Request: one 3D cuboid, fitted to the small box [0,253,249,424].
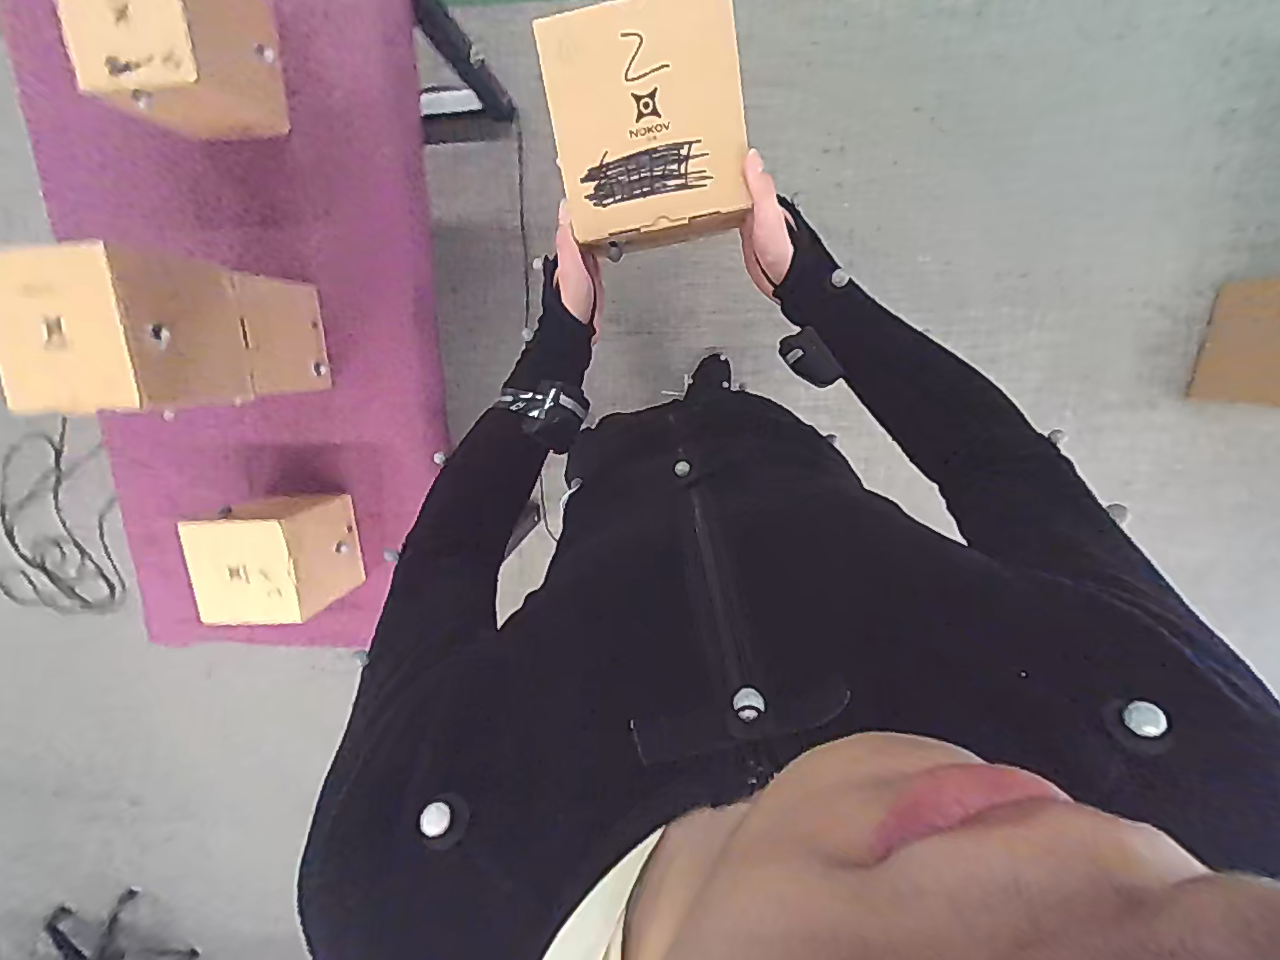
[{"bbox_3d":[-0.623,-0.167,0.660,0.168,0.176,0.179,-1,102,5],"label":"small box"}]

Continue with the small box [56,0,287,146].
[{"bbox_3d":[-0.622,-0.584,0.733,0.168,0.176,0.179,0,103,6],"label":"small box"}]

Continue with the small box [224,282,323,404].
[{"bbox_3d":[-0.612,-0.202,0.818,0.179,0.176,0.168,-1,102,6],"label":"small box"}]

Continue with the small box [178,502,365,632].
[{"bbox_3d":[-0.593,0.136,0.891,0.179,0.176,0.168,-3,103,6],"label":"small box"}]
